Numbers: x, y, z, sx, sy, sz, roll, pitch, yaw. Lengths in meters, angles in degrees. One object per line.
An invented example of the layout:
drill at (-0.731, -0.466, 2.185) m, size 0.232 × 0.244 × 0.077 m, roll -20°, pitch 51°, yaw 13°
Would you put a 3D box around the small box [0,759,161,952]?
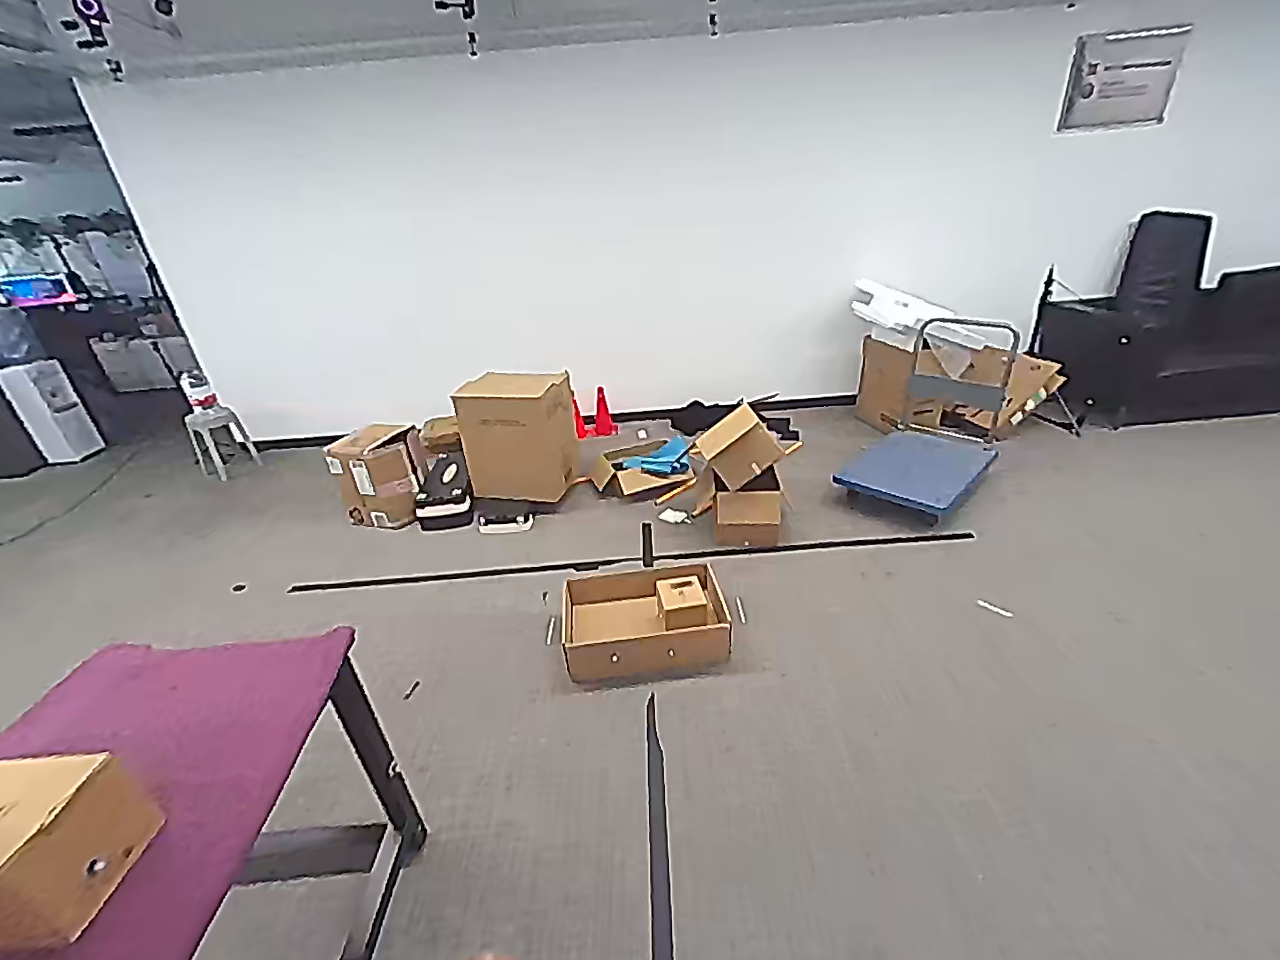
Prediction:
small box at (-0.846, 0.523, 0.755) m, size 0.179 × 0.176 × 0.168 m, roll -5°, pitch 27°, yaw 1°
